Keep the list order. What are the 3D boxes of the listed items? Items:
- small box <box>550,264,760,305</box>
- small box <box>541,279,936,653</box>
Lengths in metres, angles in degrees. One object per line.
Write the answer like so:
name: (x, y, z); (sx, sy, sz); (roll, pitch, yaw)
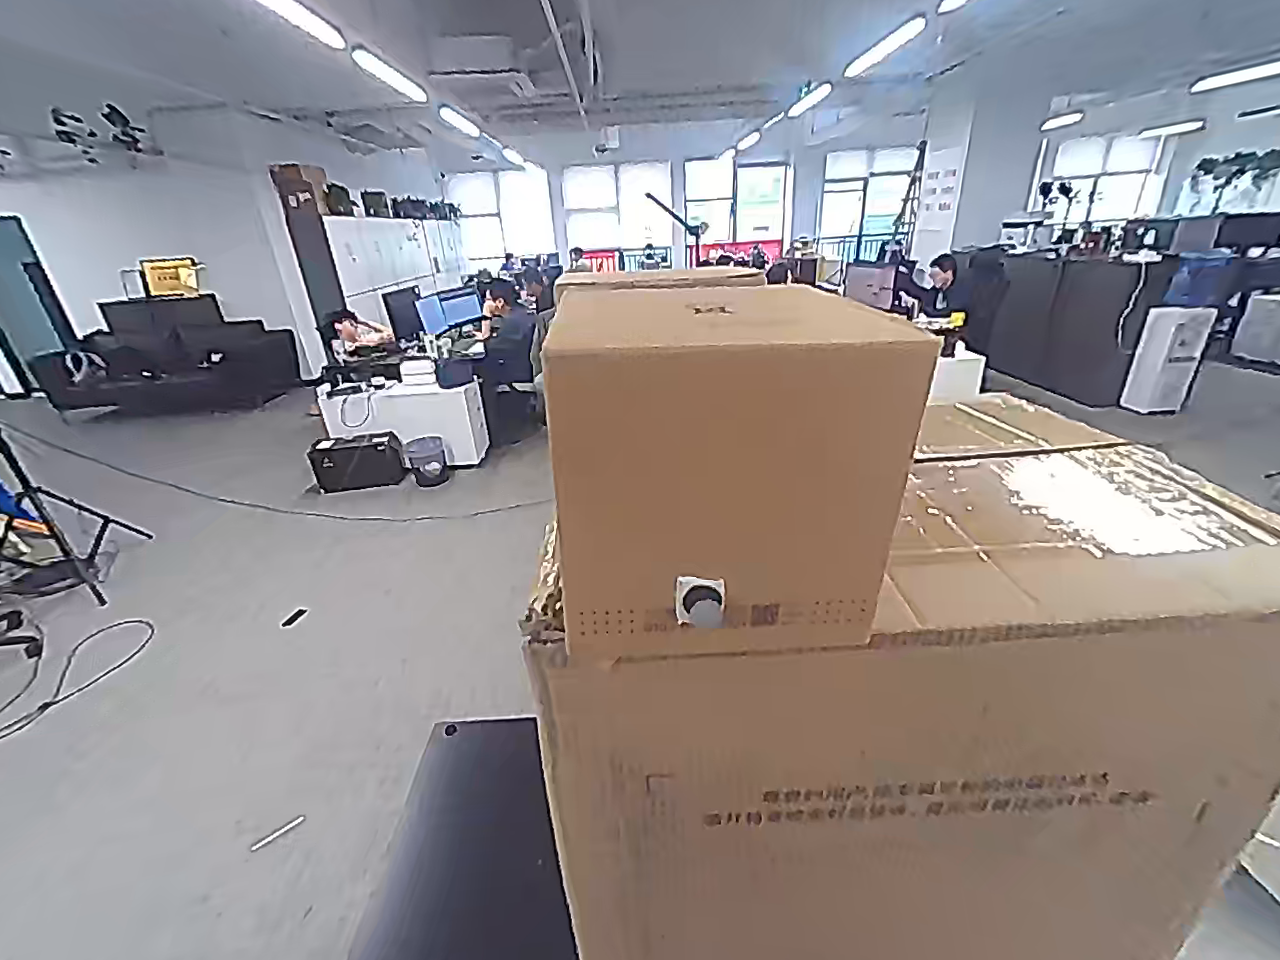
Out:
small box: (0.011, -0.113, 0.521); (0.168, 0.176, 0.179); (-4, 24, -2)
small box: (0.036, -0.022, 0.328); (0.168, 0.176, 0.179); (-3, 28, -3)
